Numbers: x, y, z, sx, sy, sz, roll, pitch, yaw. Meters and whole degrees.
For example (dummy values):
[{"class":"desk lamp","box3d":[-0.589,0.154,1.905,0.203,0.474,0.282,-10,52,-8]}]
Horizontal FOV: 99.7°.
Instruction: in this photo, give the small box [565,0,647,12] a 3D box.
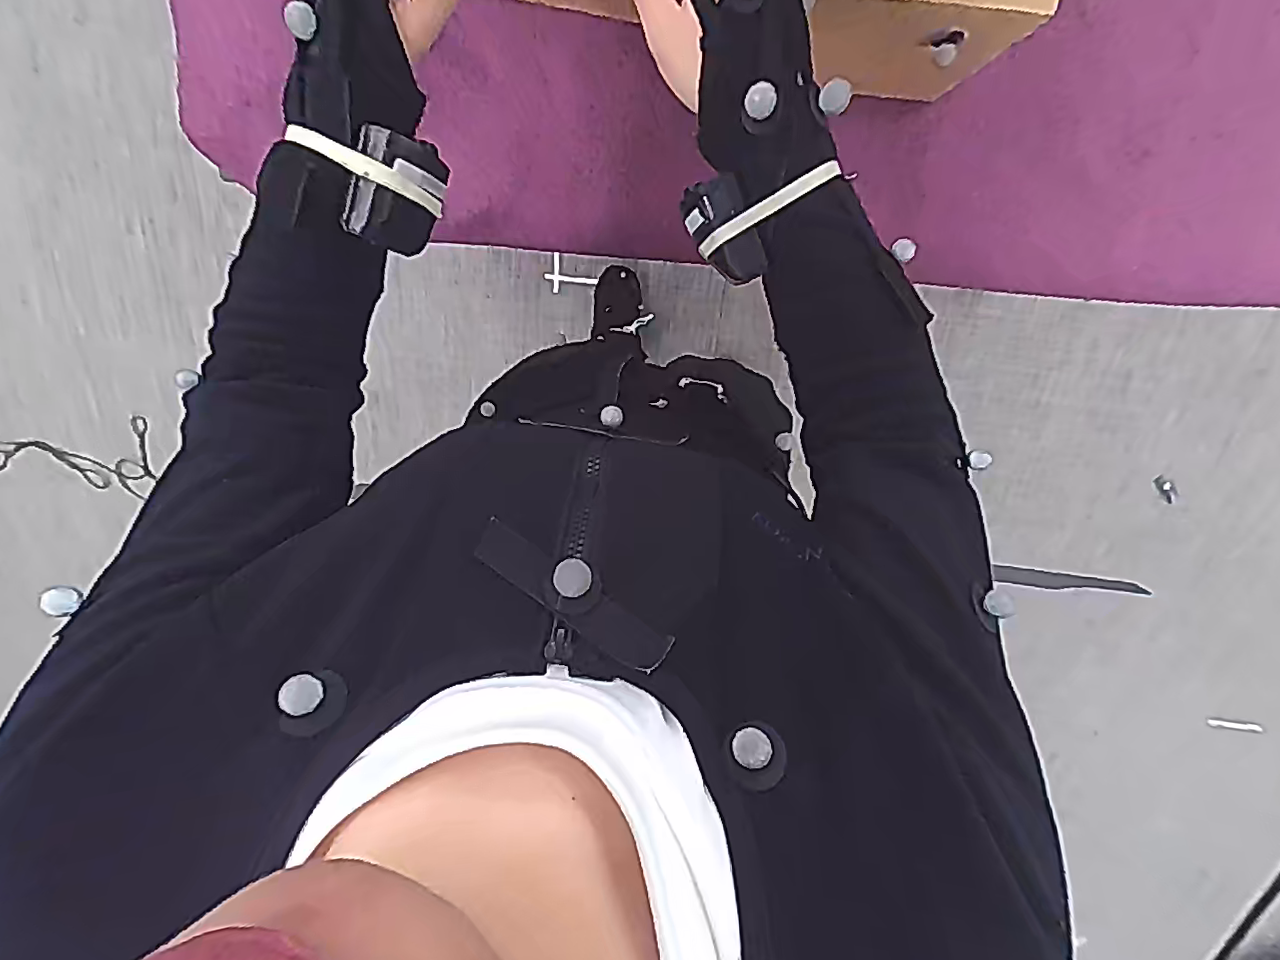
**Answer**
[{"class":"small box","box3d":[-0.065,-0.470,0.372,0.179,0.176,0.168,10,110,-2]}]

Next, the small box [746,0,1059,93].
[{"class":"small box","box3d":[0.186,-0.404,0.385,0.179,0.176,0.168,7,109,0]}]
